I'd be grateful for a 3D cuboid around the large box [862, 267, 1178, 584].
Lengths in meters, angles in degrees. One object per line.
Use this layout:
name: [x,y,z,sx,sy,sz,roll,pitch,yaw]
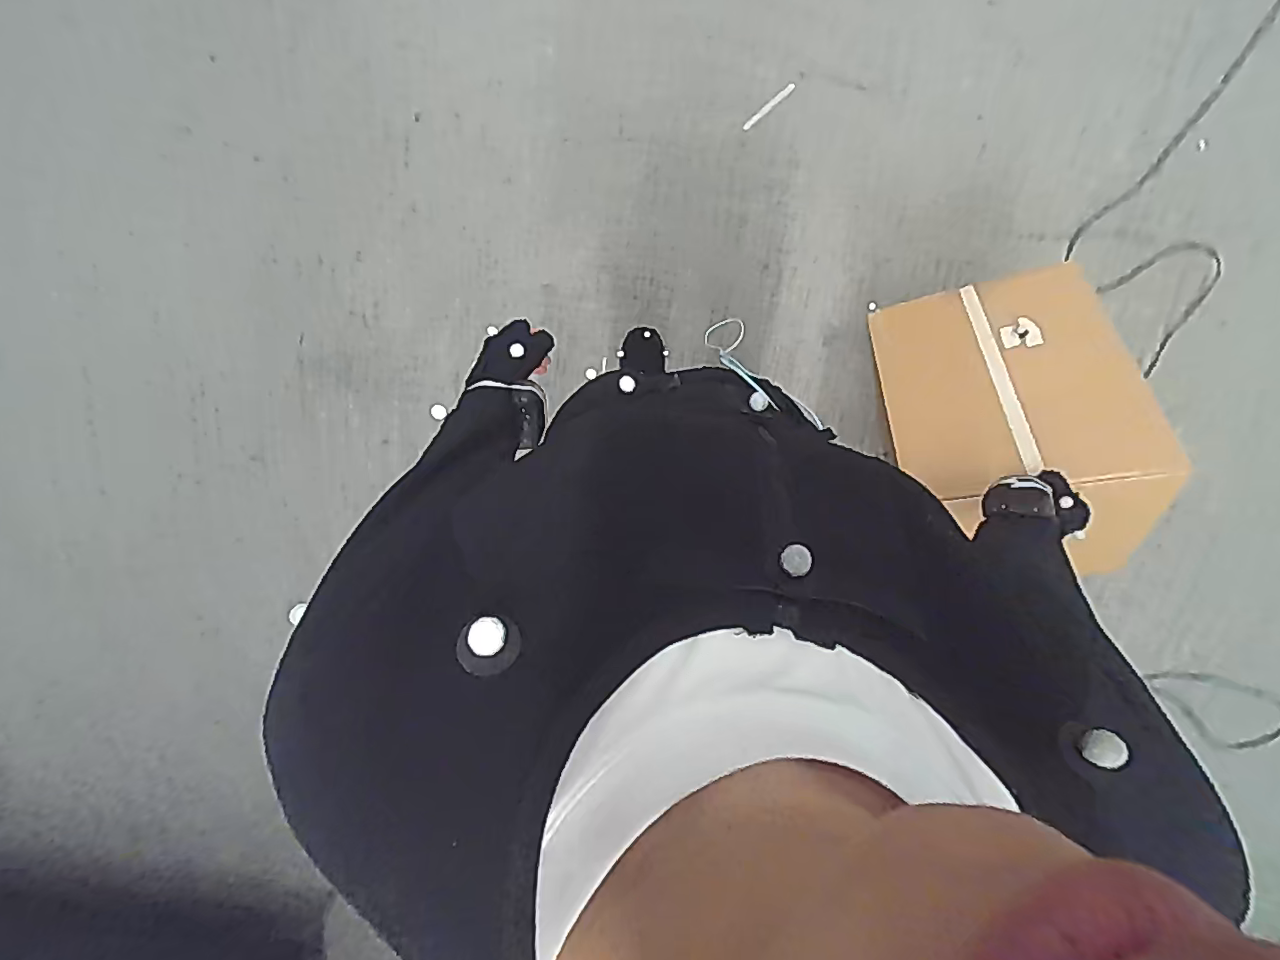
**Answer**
large box: [0.593,-0.077,0.932,0.320,0.408,0.320,-10,143,22]
